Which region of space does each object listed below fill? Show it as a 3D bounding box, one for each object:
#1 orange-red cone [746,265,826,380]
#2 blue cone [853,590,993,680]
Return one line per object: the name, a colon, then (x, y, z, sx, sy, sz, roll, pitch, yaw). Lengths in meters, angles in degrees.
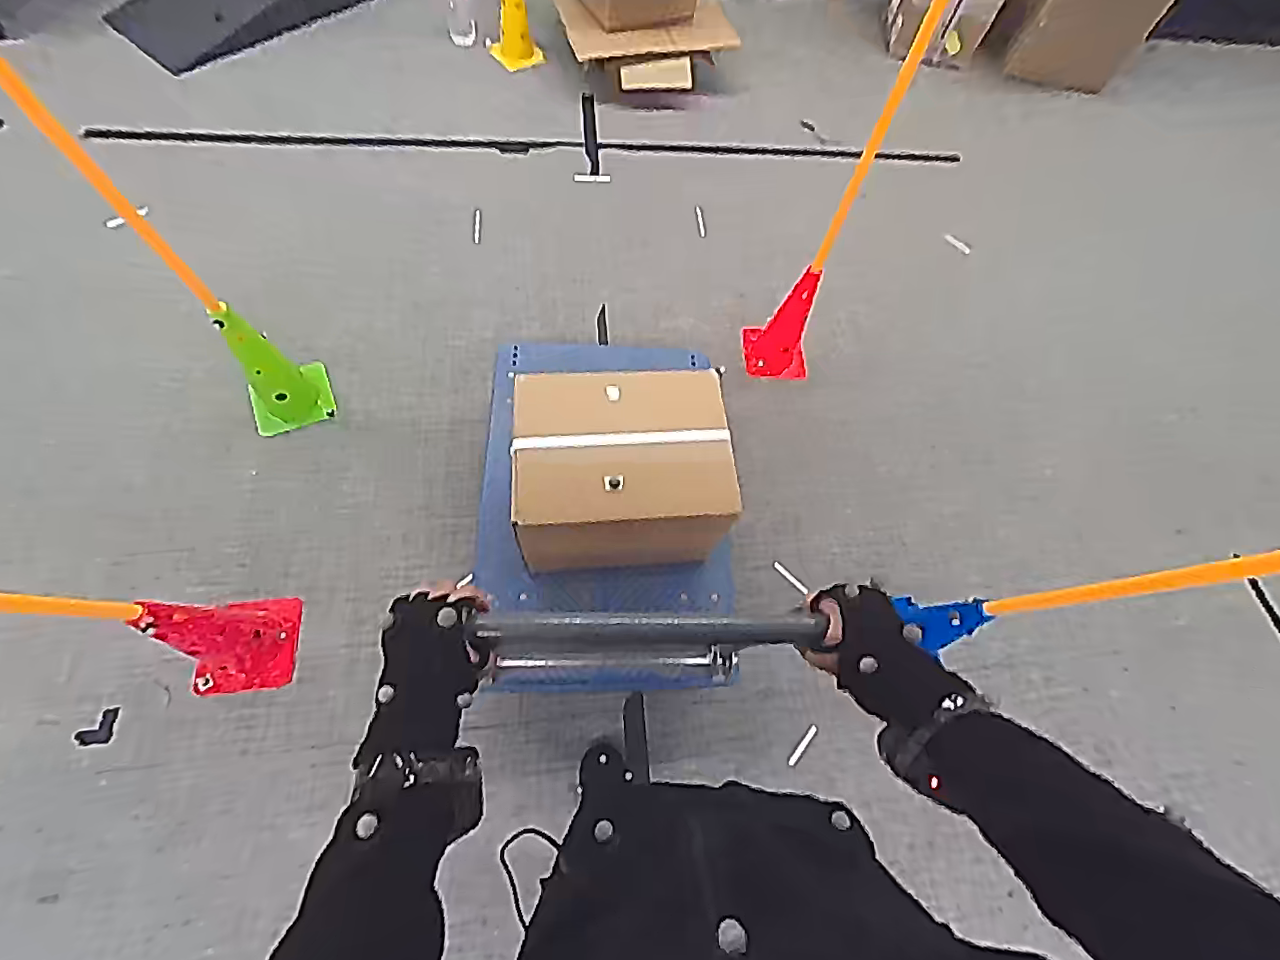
orange-red cone: (0.459, -0.483, 1.591, 0.199, 0.360, 0.198, 4, 64, -6)
blue cone: (0.671, 0.329, 1.236, 0.193, 0.380, 0.192, -6, 64, -10)
